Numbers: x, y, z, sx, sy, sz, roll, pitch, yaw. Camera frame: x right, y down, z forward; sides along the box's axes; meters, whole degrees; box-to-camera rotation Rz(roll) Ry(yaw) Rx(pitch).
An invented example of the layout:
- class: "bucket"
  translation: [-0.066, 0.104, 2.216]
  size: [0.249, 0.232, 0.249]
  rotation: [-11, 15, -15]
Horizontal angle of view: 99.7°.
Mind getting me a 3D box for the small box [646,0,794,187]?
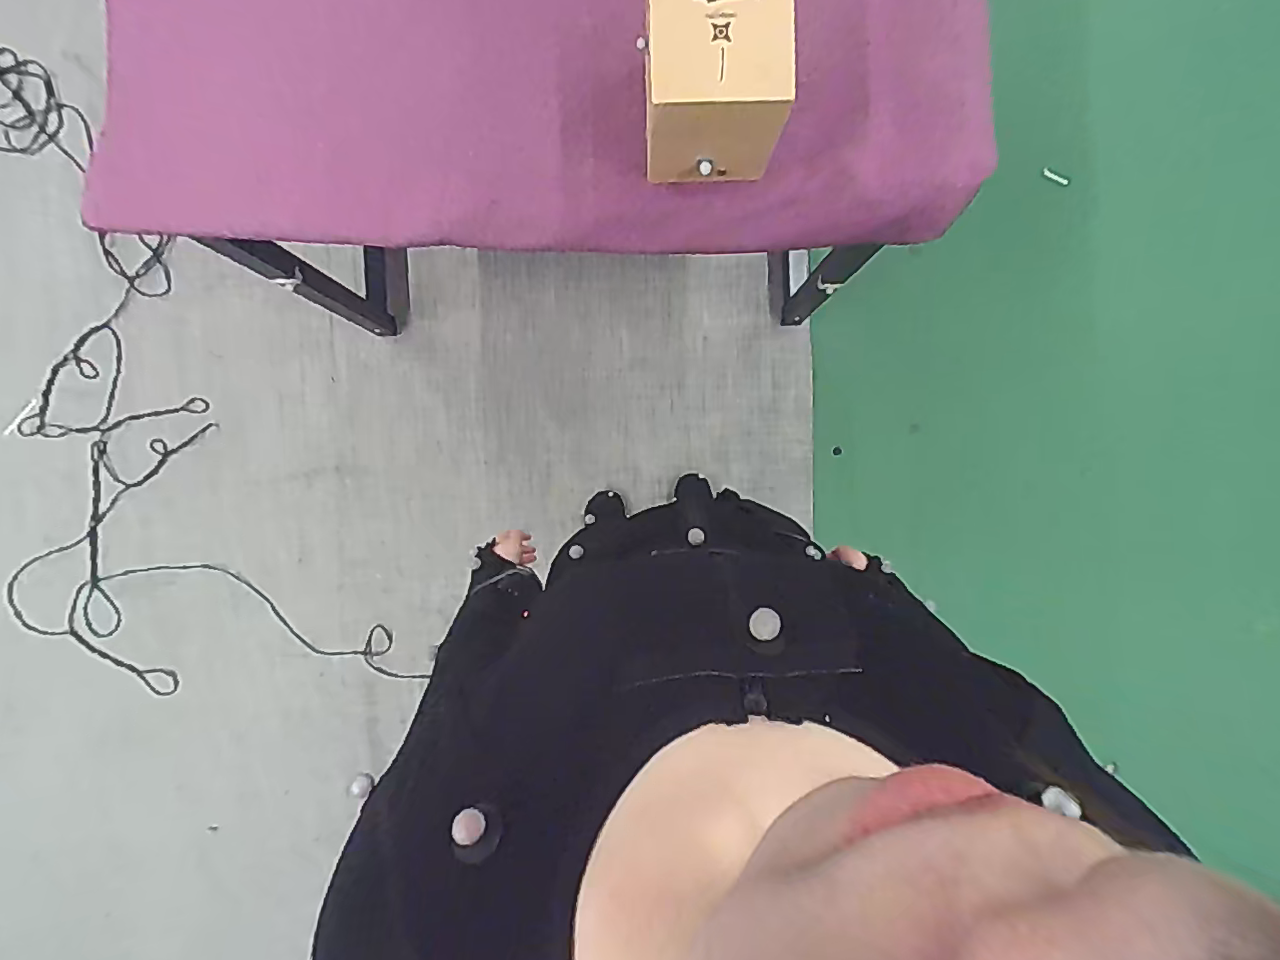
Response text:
- class: "small box"
  translation: [0.092, -0.507, 0.693]
  size: [0.168, 0.176, 0.179]
  rotation: [-1, 91, 0]
